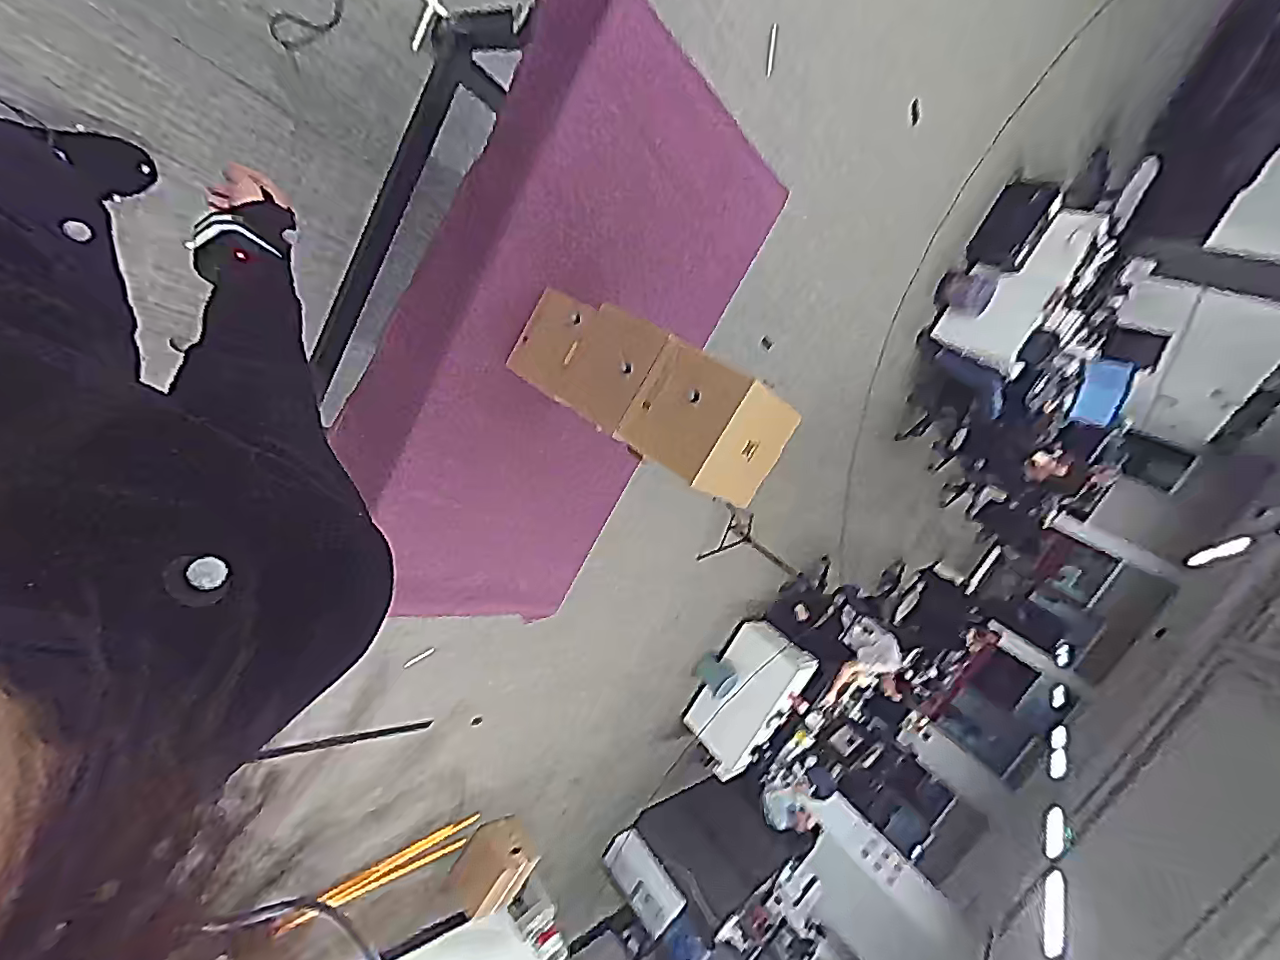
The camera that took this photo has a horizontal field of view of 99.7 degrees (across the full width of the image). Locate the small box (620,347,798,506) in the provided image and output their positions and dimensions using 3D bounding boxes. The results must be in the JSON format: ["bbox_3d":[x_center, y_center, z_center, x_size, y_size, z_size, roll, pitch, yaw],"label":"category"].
[{"bbox_3d":[0.102,-0.084,0.821,0.179,0.176,0.168,20,103,-53],"label":"small box"}]

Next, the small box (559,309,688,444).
[{"bbox_3d":[-0.007,-0.162,0.914,0.168,0.176,0.179,21,103,-52],"label":"small box"}]
